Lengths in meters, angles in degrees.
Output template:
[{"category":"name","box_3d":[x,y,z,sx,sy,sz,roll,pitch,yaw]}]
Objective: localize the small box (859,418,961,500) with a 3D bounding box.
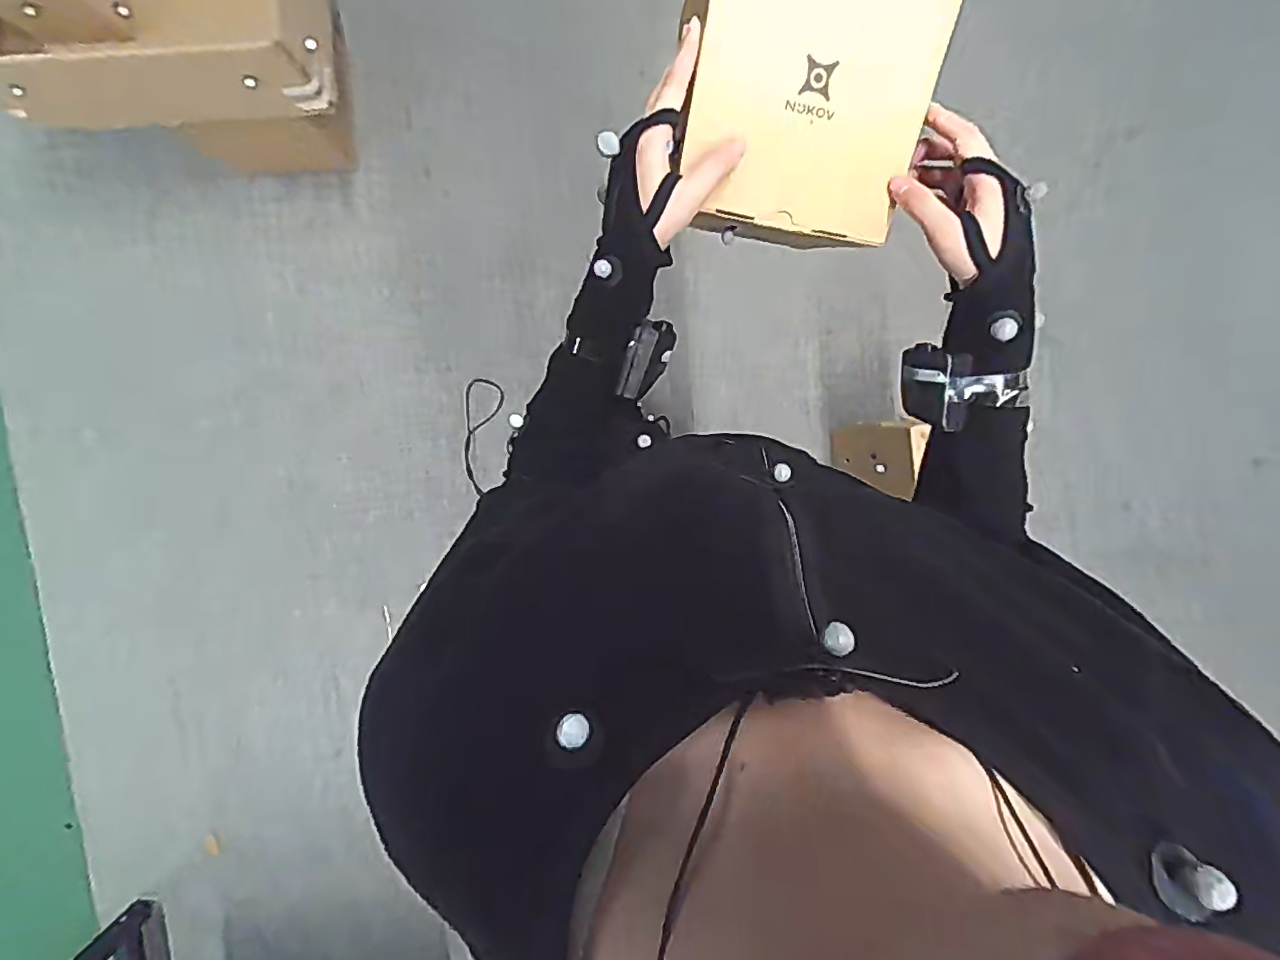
[{"category":"small box","box_3d":[0.616,-0.046,1.242,0.168,0.176,0.179,-4,95,2]}]

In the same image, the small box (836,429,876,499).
[{"category":"small box","box_3d":[0.619,-0.049,1.407,0.168,0.176,0.179,-5,95,2]}]

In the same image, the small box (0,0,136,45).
[{"category":"small box","box_3d":[-1.024,-0.893,0.933,0.179,0.176,0.168,-1,95,1]}]

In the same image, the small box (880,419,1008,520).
[{"category":"small box","box_3d":[0.599,-0.027,1.080,0.168,0.176,0.179,-6,95,2]}]
